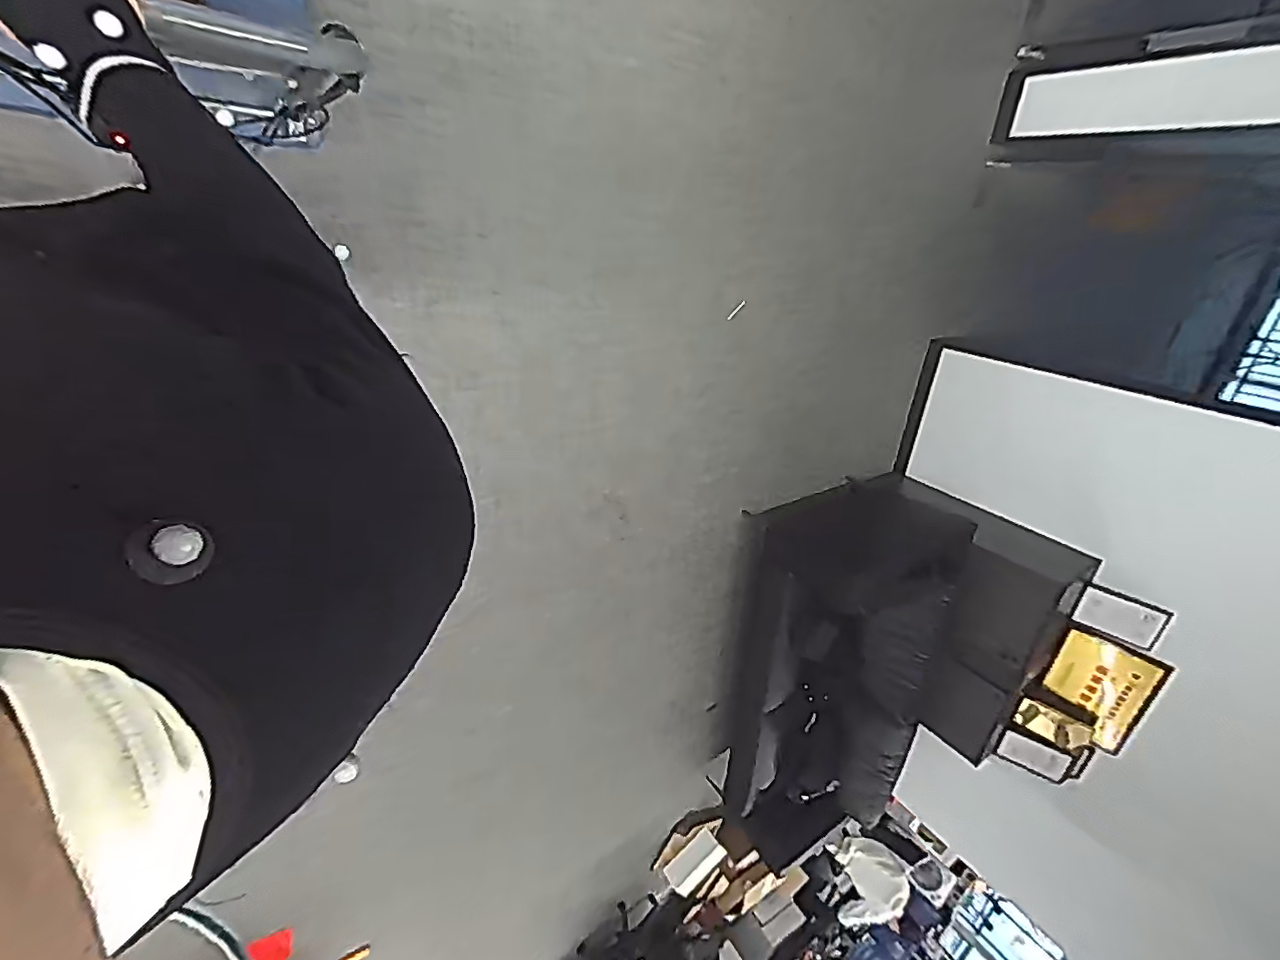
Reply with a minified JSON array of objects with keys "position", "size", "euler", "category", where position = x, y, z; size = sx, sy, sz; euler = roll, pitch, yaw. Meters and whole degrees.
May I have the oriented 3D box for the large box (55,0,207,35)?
[{"position":[-0.774,-0.867,0.669],"size":[0.320,0.320,0.408],"euler":[-9,119,-34],"category":"large box"}]
